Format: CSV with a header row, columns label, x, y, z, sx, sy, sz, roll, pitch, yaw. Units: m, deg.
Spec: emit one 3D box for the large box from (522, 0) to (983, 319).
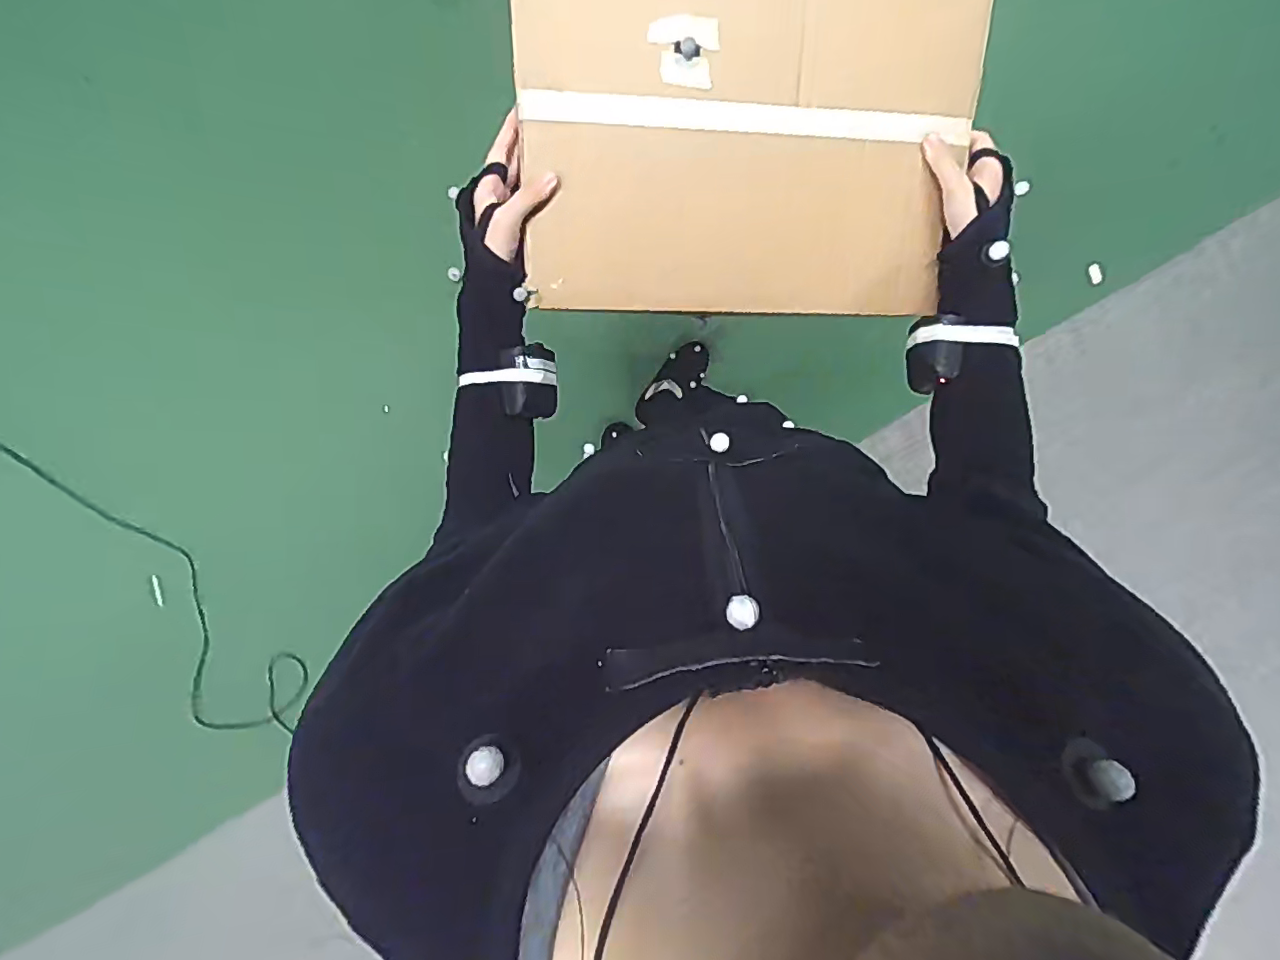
label,x,y,z,sx,sy,sz,roll,pitch,yaw
large box,0.083,-0.356,0.624,0.408,0.320,0.320,0,107,-7
